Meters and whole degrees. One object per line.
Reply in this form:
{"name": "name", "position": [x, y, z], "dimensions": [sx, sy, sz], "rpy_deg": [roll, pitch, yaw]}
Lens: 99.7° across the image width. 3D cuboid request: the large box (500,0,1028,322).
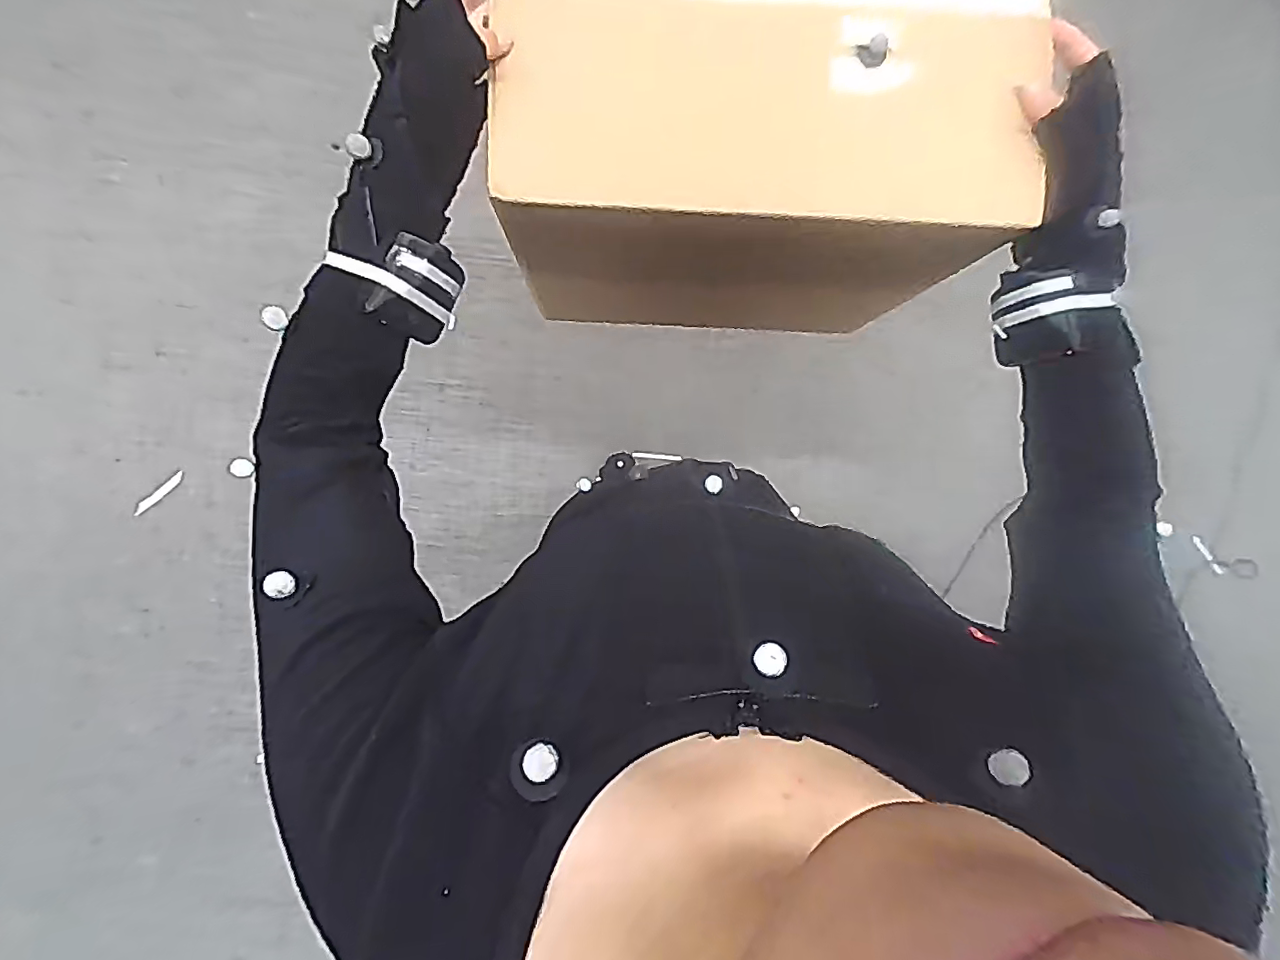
{"name": "large box", "position": [0.086, -0.358, 0.549], "dimensions": [0.408, 0.320, 0.320], "rpy_deg": [1, 91, -4]}
